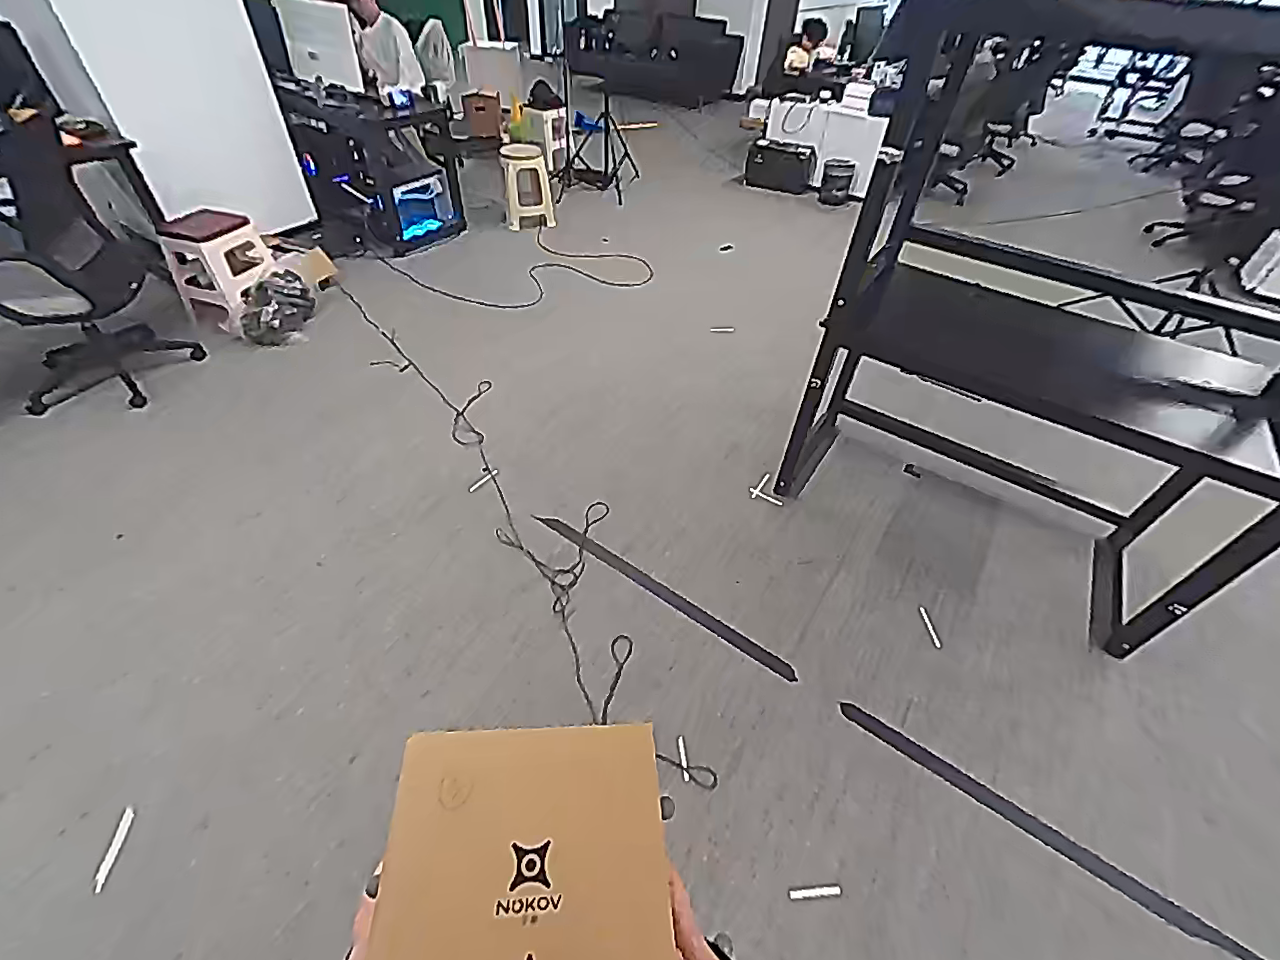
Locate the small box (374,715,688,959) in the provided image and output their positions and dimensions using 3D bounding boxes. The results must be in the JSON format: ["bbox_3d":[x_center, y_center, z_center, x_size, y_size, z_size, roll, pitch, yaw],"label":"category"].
[{"bbox_3d":[-0.070,0.281,0.367,0.168,0.176,0.179,2,45,-9],"label":"small box"}]
